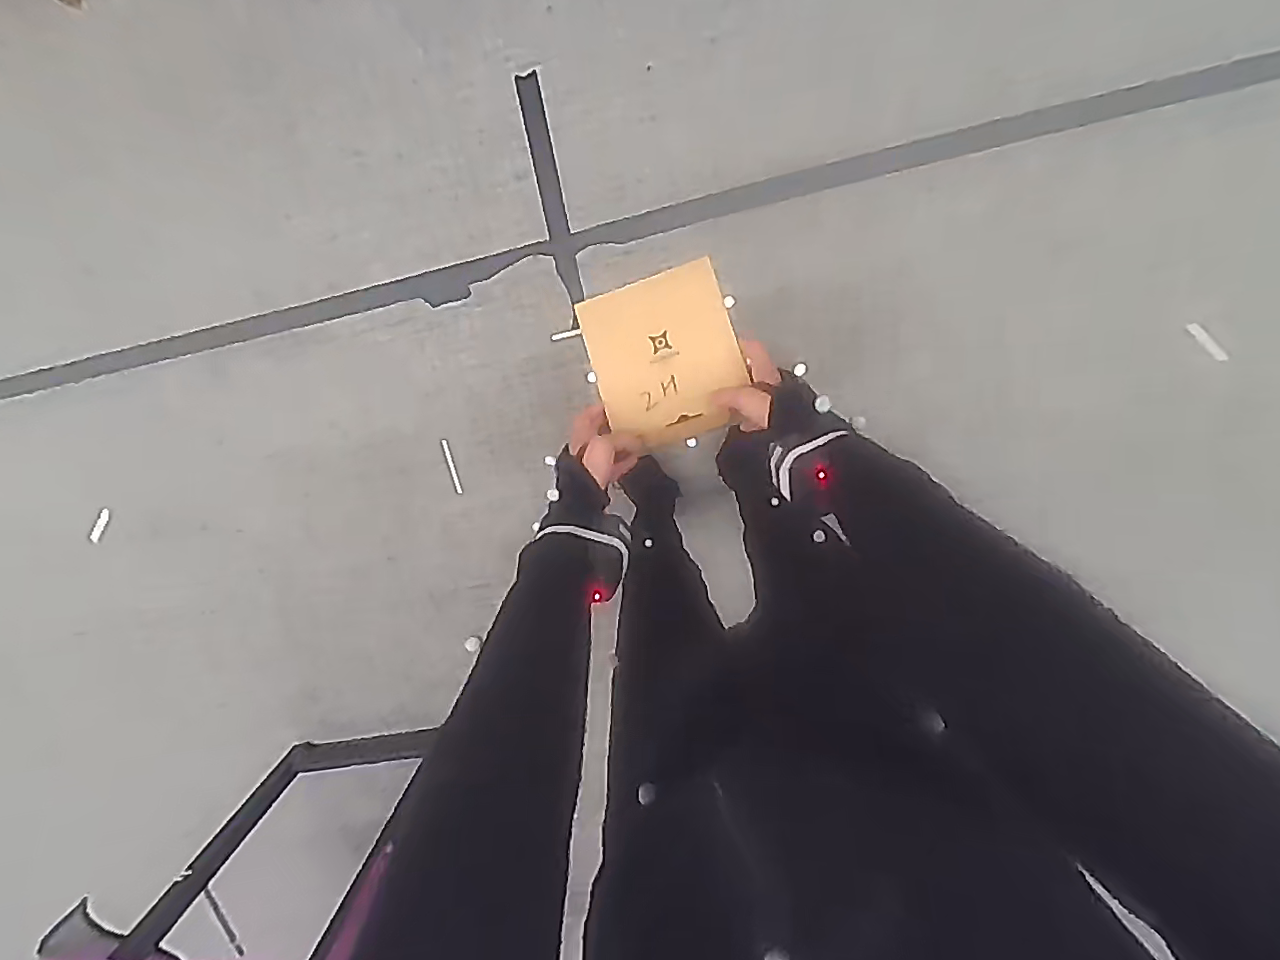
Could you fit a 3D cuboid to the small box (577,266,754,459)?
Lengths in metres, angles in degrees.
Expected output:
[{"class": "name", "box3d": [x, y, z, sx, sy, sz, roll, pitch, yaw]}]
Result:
[{"class": "small box", "box3d": [0.037, -0.136, 0.694, 0.168, 0.176, 0.179, -18, 86, 8]}]
